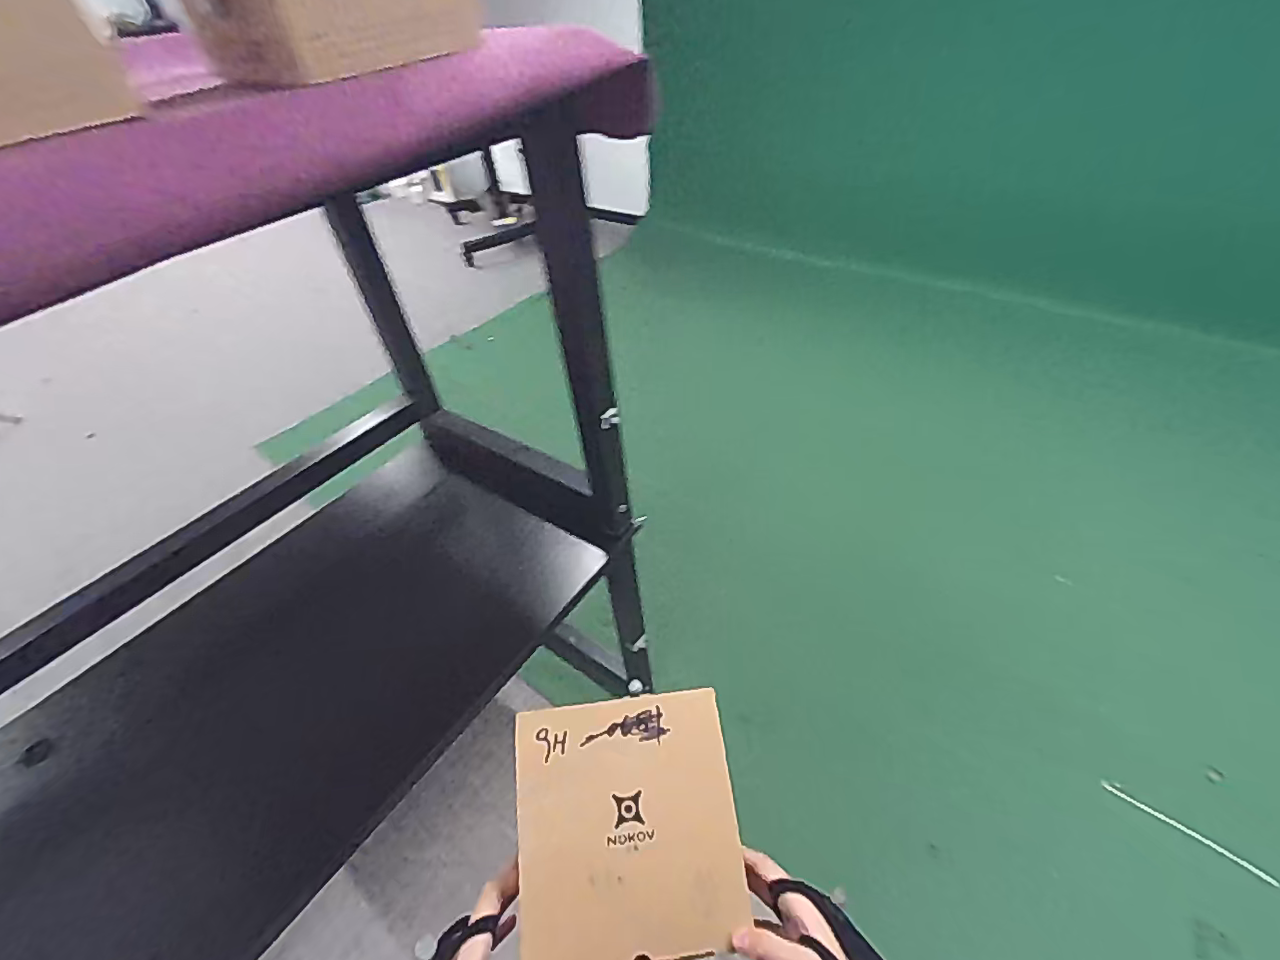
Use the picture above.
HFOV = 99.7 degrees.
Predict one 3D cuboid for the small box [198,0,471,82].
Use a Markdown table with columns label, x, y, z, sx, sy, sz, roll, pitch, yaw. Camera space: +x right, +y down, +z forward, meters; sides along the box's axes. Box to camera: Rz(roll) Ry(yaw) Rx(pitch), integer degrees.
| label | x | y | z | sx | sy | sz | roll | pitch | yaw |
| --- | --- | --- | --- | --- | --- | --- | --- | --- | --- |
| small box | -0.258 | -0.439 | 0.428 | 0.168 | 0.176 | 0.179 | 26 | 54 | 28 |
